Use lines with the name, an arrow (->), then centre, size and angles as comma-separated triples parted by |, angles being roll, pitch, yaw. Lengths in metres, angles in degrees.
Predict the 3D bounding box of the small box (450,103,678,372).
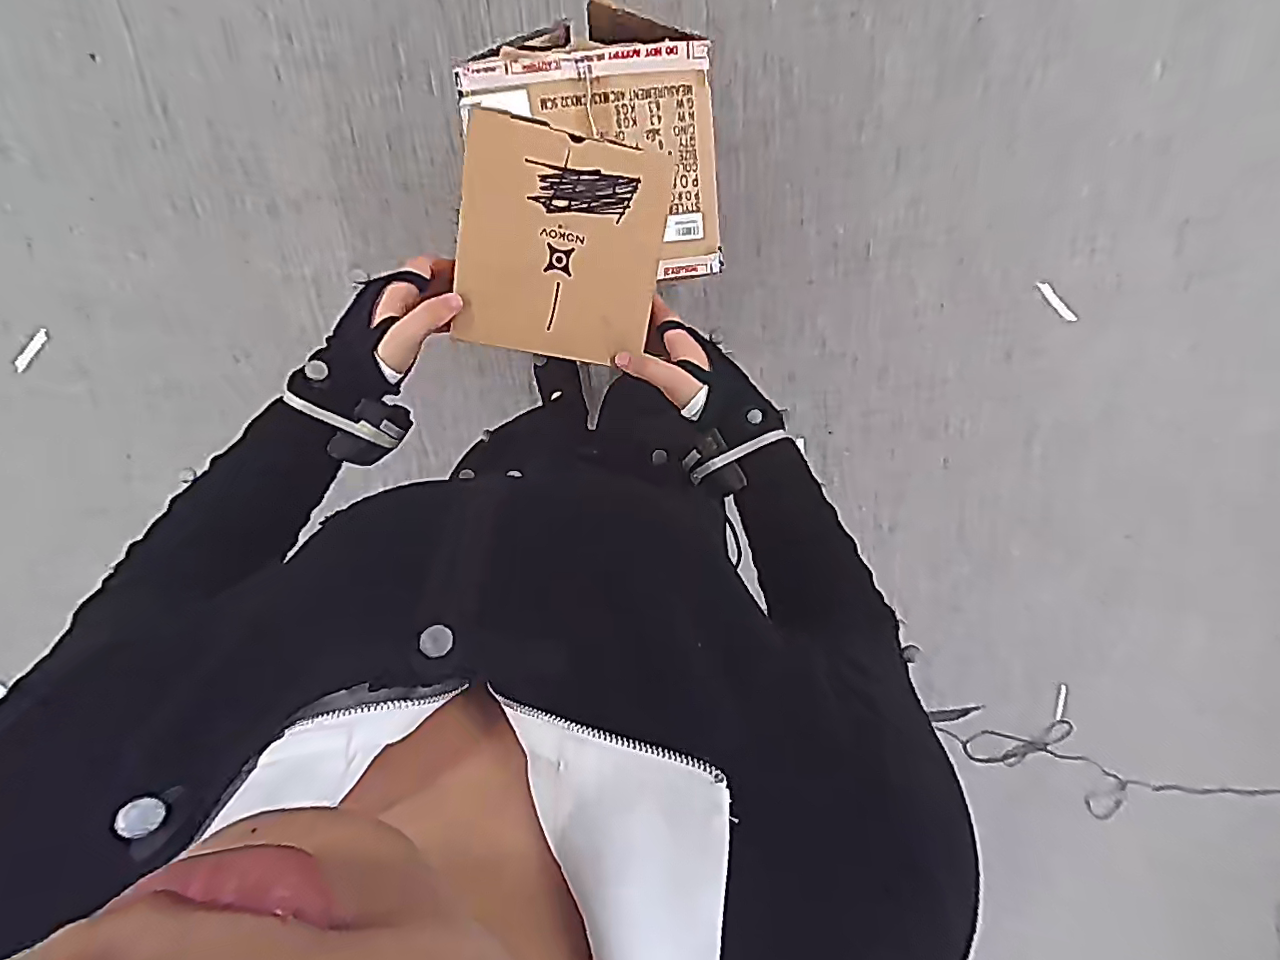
small box -> -0.077, -0.211, 0.516 | 0.168, 0.176, 0.179 | 8, 105, -12
